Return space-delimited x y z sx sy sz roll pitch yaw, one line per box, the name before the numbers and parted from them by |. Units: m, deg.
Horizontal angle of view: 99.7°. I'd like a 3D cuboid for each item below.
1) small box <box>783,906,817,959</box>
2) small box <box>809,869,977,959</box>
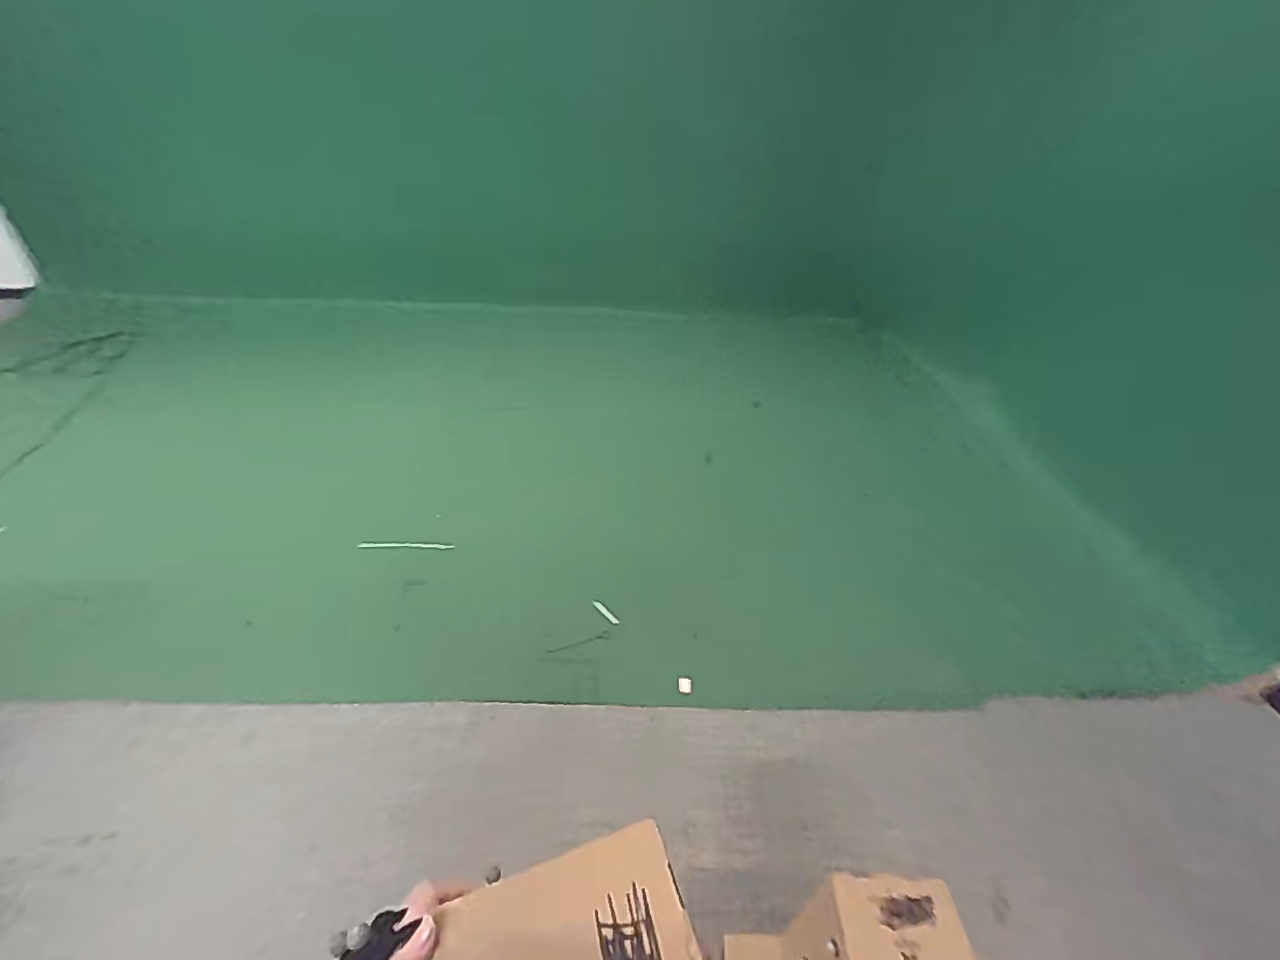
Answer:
small box | 0.342 0.801 0.851 0.179 0.176 0.168 4 37 -1
small box | 0.347 0.673 0.745 0.168 0.176 0.179 3 37 -1
